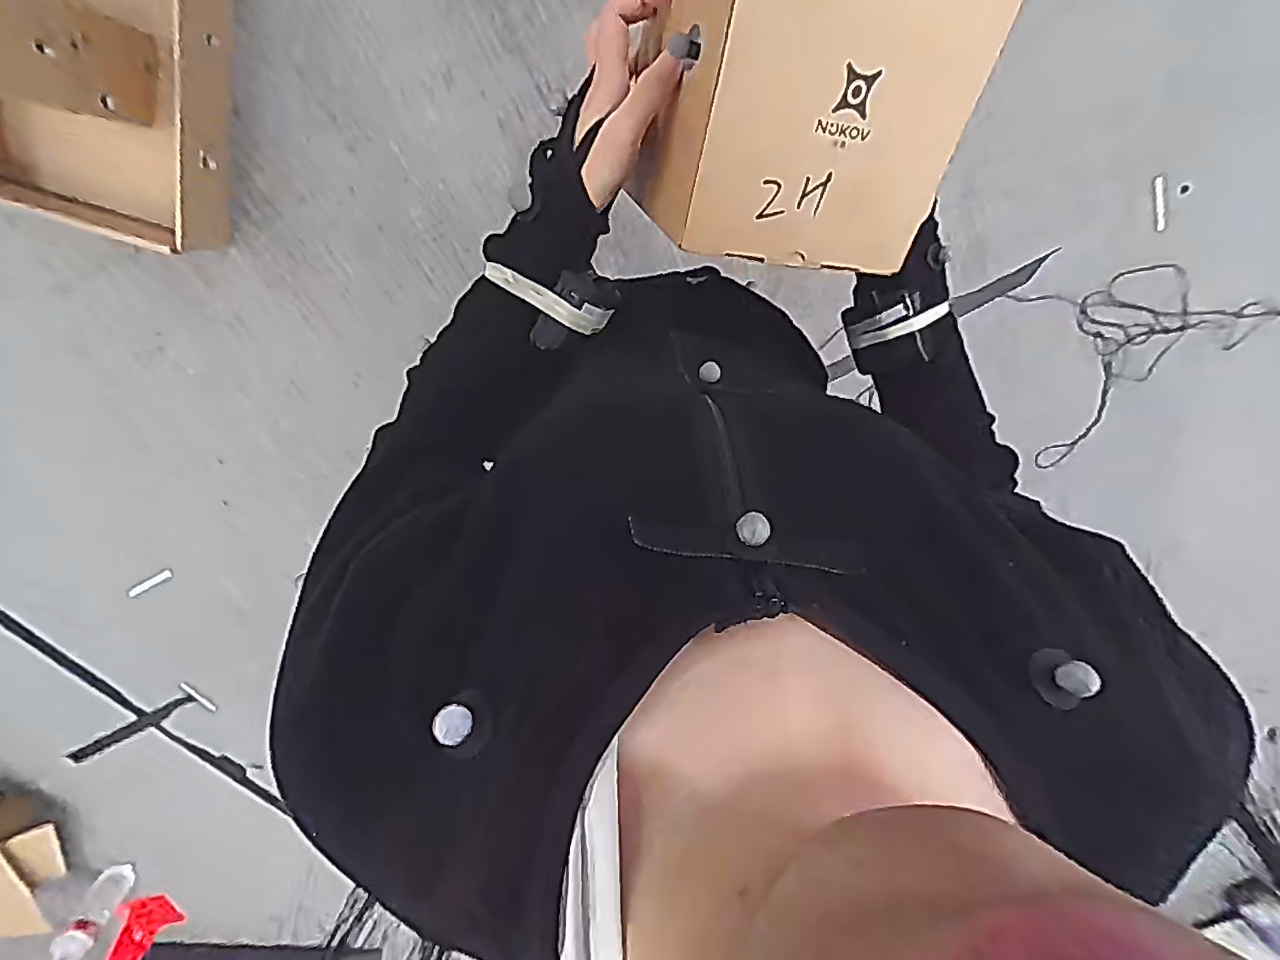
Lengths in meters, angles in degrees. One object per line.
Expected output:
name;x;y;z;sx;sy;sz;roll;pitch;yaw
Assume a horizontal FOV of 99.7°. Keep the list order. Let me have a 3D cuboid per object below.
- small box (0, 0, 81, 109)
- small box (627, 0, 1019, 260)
small box;-1.000;-0.689;0.809;0.179;0.176;0.168;18;111;-15
small box;0.097;-0.268;0.357;0.168;0.176;0.179;-1;129;-17
